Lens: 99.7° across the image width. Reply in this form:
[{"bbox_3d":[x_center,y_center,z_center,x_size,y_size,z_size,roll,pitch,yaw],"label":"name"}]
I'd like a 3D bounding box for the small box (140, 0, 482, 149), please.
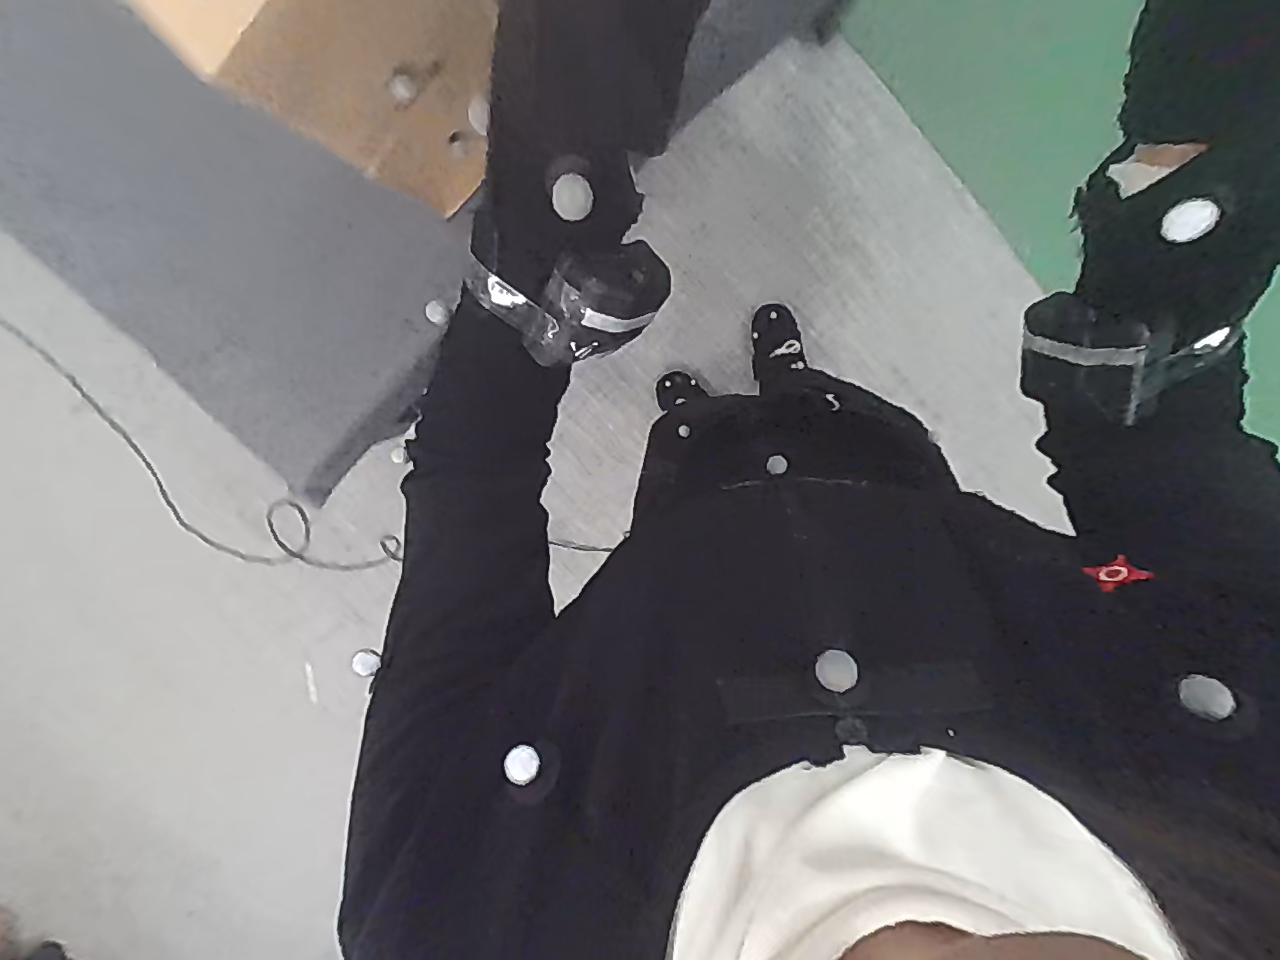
[{"bbox_3d":[-0.243,-0.372,0.363,0.168,0.176,0.179,-40,98,12],"label":"small box"}]

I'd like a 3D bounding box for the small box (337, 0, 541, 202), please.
[{"bbox_3d":[-0.223,-0.408,0.523,0.179,0.176,0.168,-40,98,13],"label":"small box"}]
